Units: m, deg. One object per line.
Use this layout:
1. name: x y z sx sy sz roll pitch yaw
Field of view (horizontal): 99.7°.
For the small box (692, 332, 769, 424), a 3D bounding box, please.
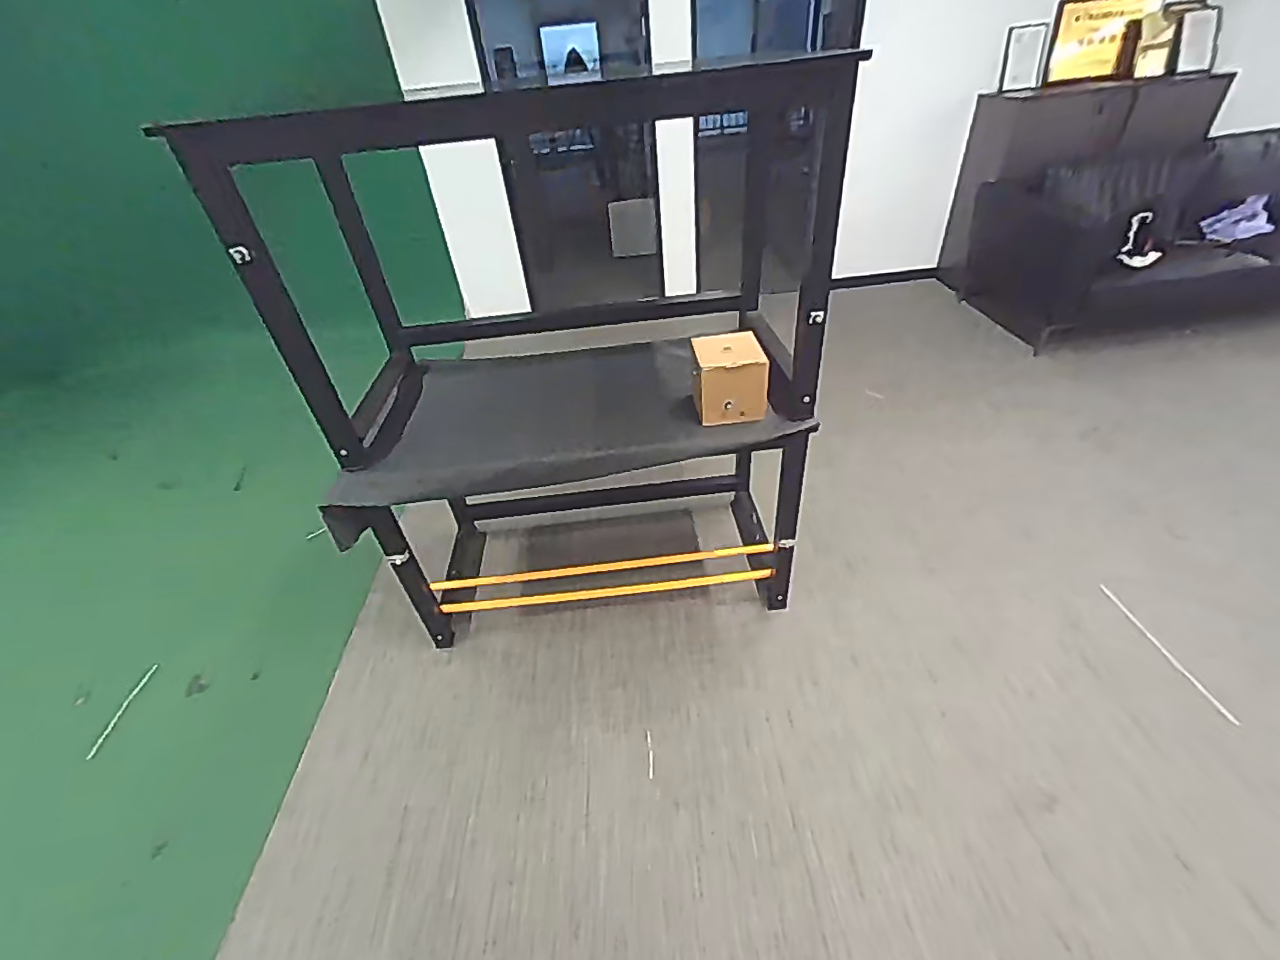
1. small box: 0.228 -0.265 1.402 0.168 0.176 0.179 -7 38 0
